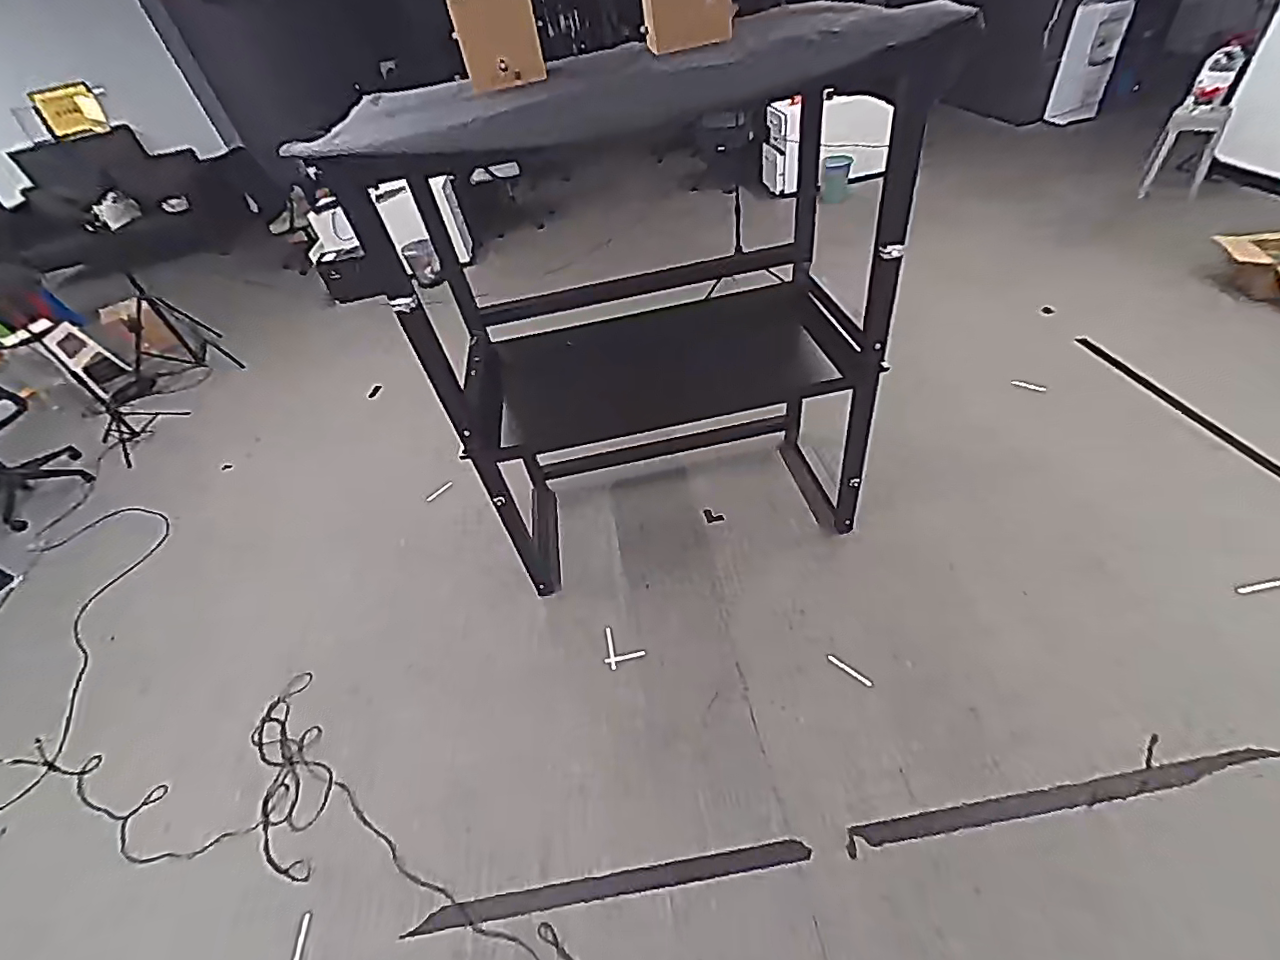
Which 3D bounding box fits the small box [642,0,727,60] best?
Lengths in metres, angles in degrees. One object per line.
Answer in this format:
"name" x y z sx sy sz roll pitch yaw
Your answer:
"small box" 0.098 -1.072 1.214 0.179 0.176 0.168 -11 43 1
